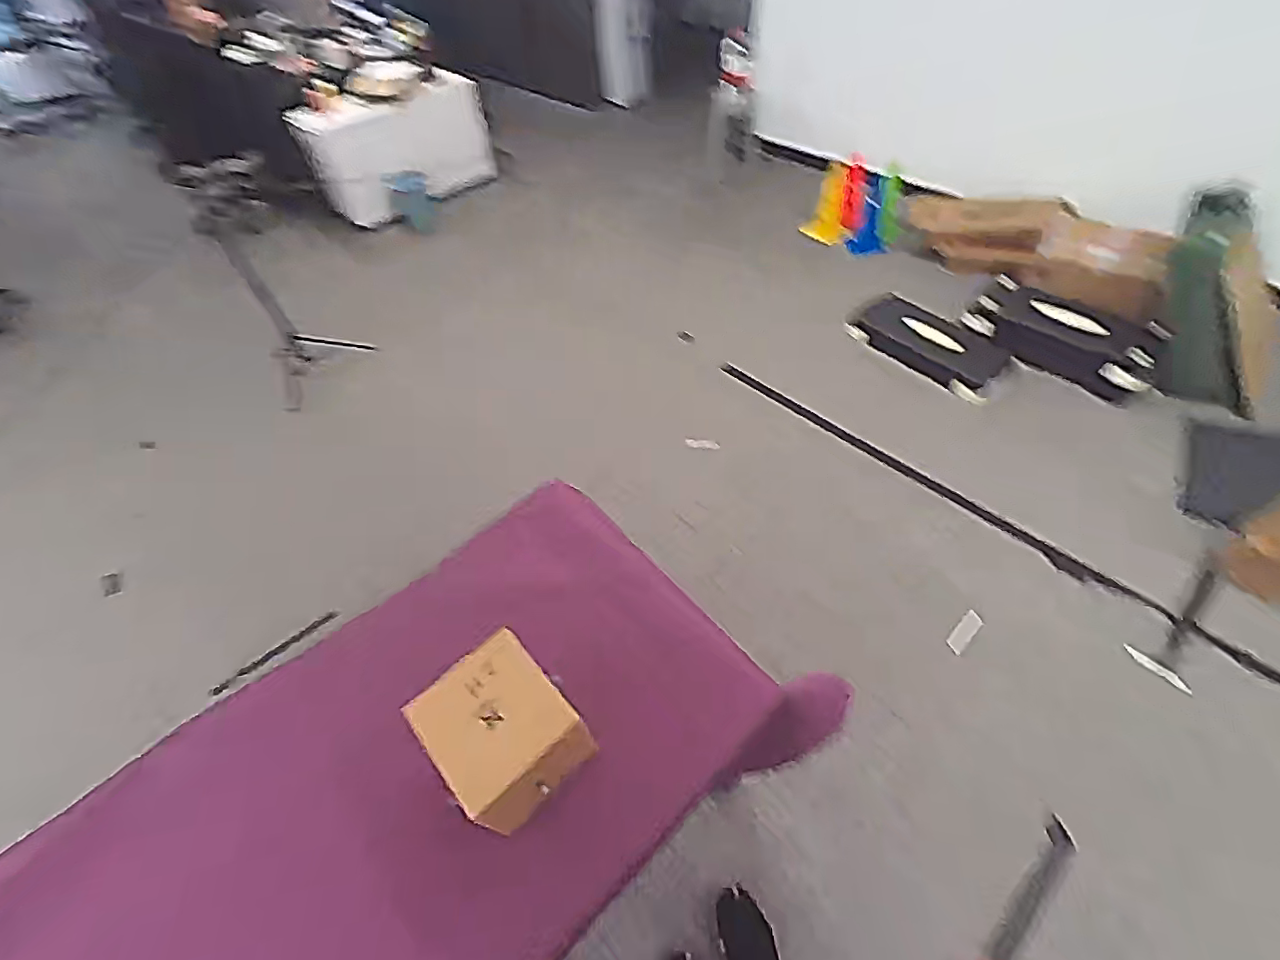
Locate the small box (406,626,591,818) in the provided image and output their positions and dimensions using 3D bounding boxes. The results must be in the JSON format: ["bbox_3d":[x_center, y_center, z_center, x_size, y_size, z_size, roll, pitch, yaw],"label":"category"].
[{"bbox_3d":[-0.189,0.349,0.770,0.168,0.176,0.179,-38,58,-22],"label":"small box"}]
